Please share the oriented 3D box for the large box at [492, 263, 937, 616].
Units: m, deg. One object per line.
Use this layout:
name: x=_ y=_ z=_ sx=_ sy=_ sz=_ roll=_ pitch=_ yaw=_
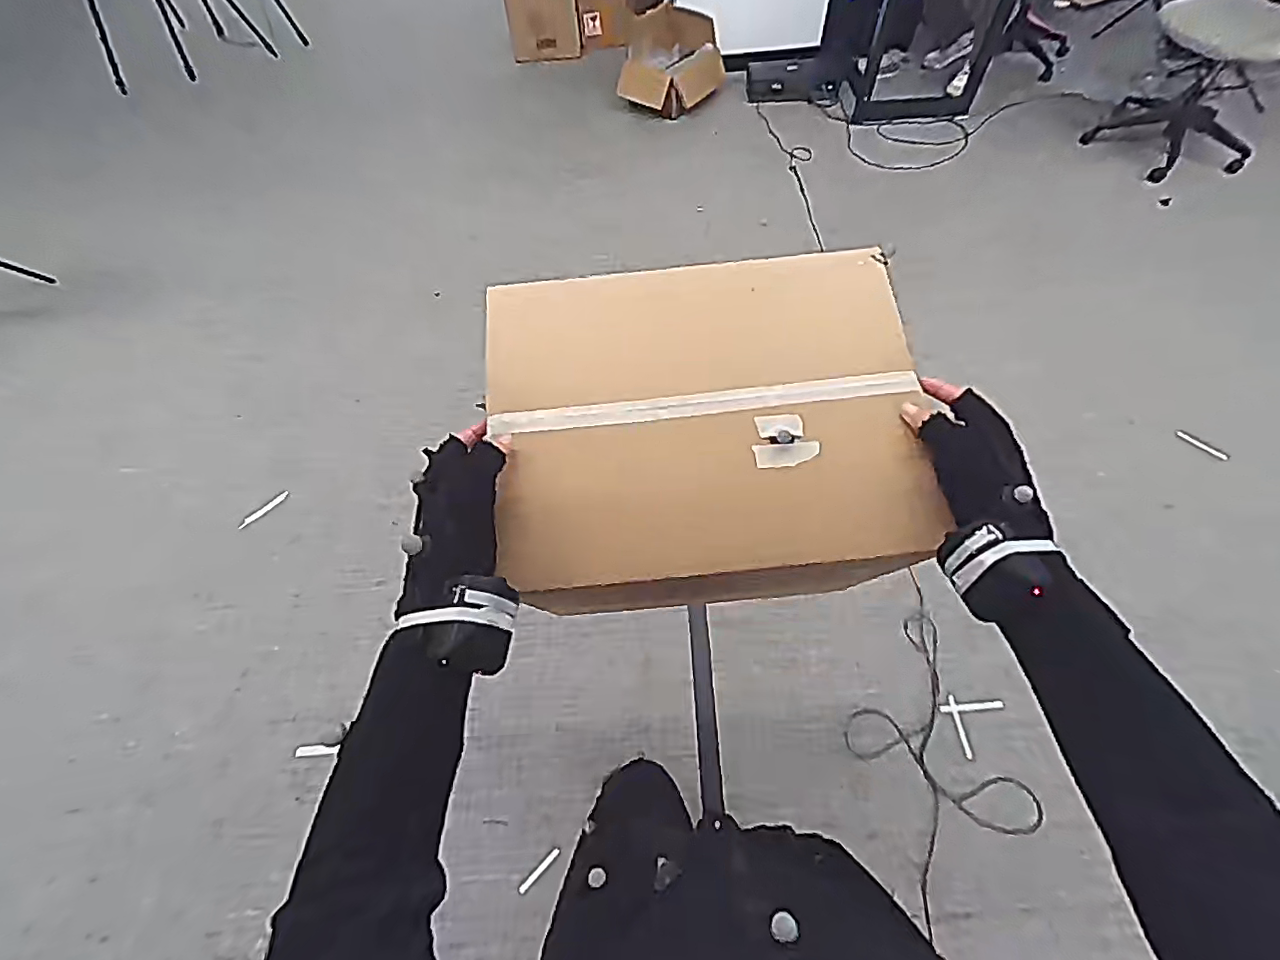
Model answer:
large box: x=0.059 y=-0.020 z=0.671 sx=0.408 sy=0.320 sz=0.320 roll=-6 pitch=73 yaw=-1
